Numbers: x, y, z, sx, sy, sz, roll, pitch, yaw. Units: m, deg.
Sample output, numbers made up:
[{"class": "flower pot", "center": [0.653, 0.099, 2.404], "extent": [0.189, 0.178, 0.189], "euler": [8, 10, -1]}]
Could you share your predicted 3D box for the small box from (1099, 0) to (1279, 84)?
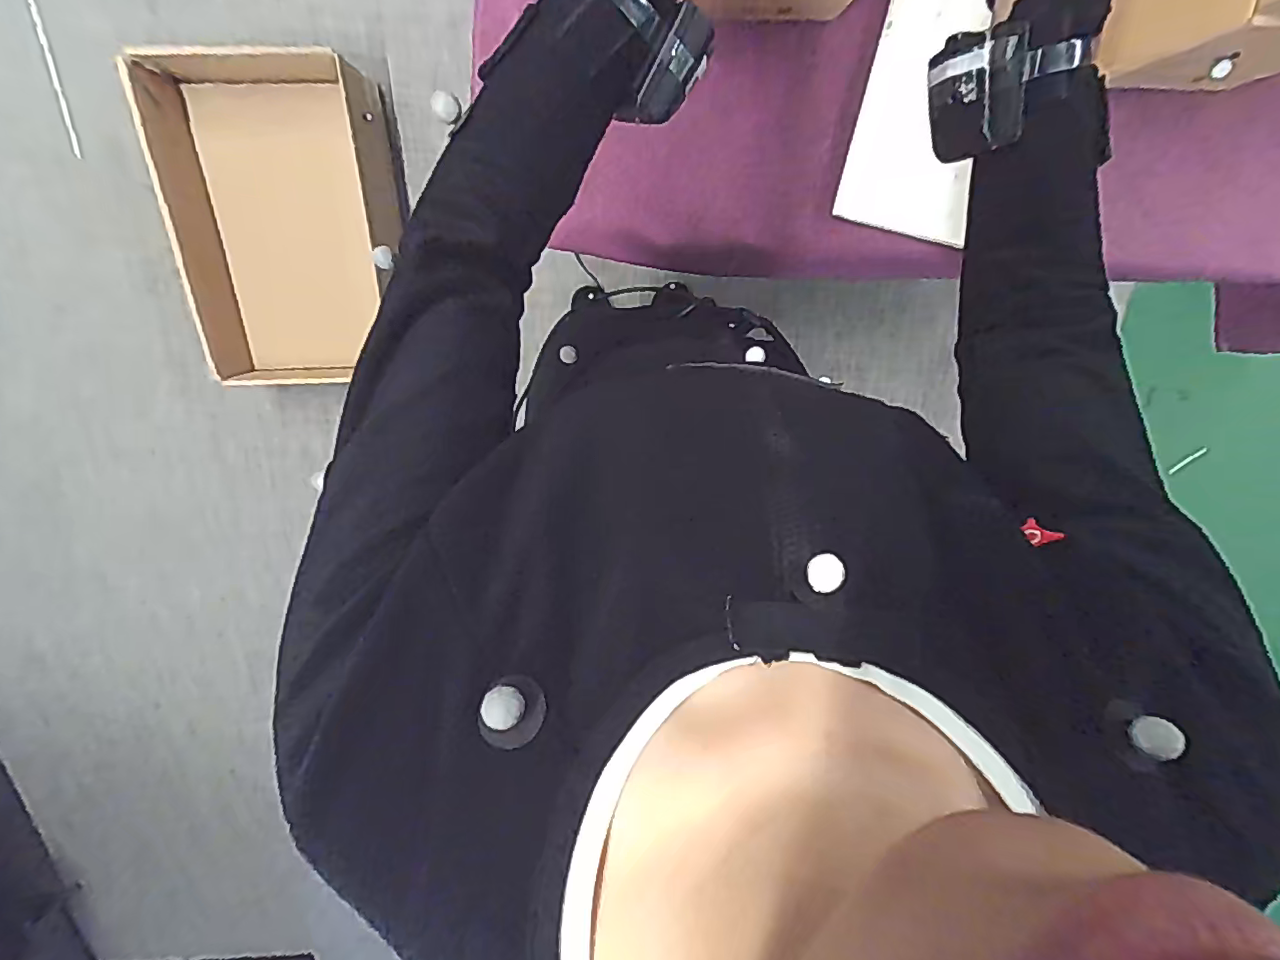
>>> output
[{"class": "small box", "center": [0.584, -0.493, 0.500], "extent": [0.168, 0.176, 0.179], "euler": [-1, 110, -3]}]
